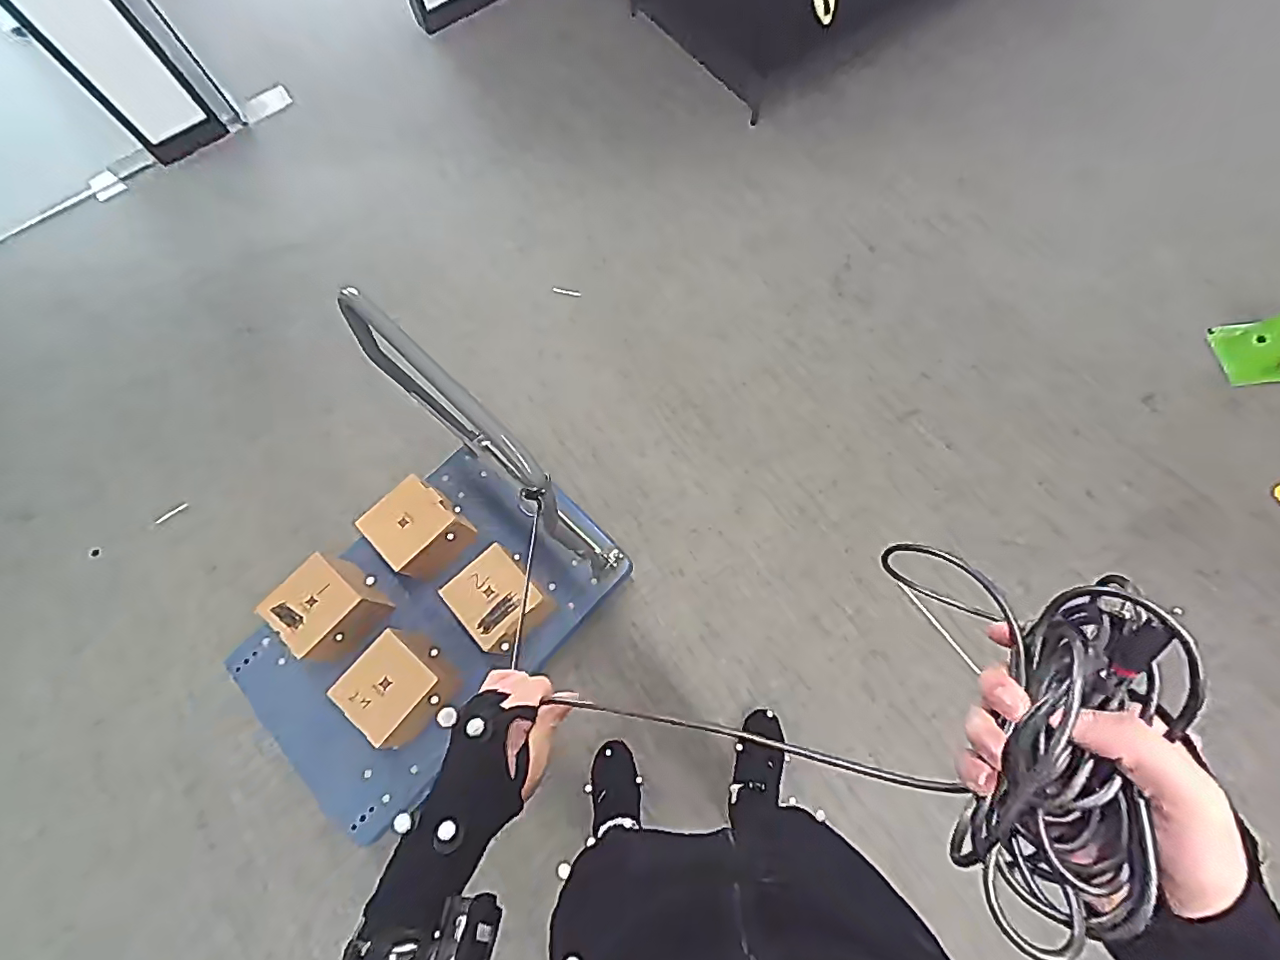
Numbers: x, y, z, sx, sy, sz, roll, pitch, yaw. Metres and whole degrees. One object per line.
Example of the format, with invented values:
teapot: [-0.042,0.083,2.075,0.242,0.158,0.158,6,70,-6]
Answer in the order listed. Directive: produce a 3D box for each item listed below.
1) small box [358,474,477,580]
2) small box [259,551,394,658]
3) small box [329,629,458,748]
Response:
small box: [-0.532,0.122,1.318,0.179,0.176,0.168,-44,74,-12]
small box: [-0.721,0.297,1.264,0.168,0.176,0.179,40,77,14]
small box: [-0.529,0.455,1.198,0.168,0.176,0.179,38,77,15]
